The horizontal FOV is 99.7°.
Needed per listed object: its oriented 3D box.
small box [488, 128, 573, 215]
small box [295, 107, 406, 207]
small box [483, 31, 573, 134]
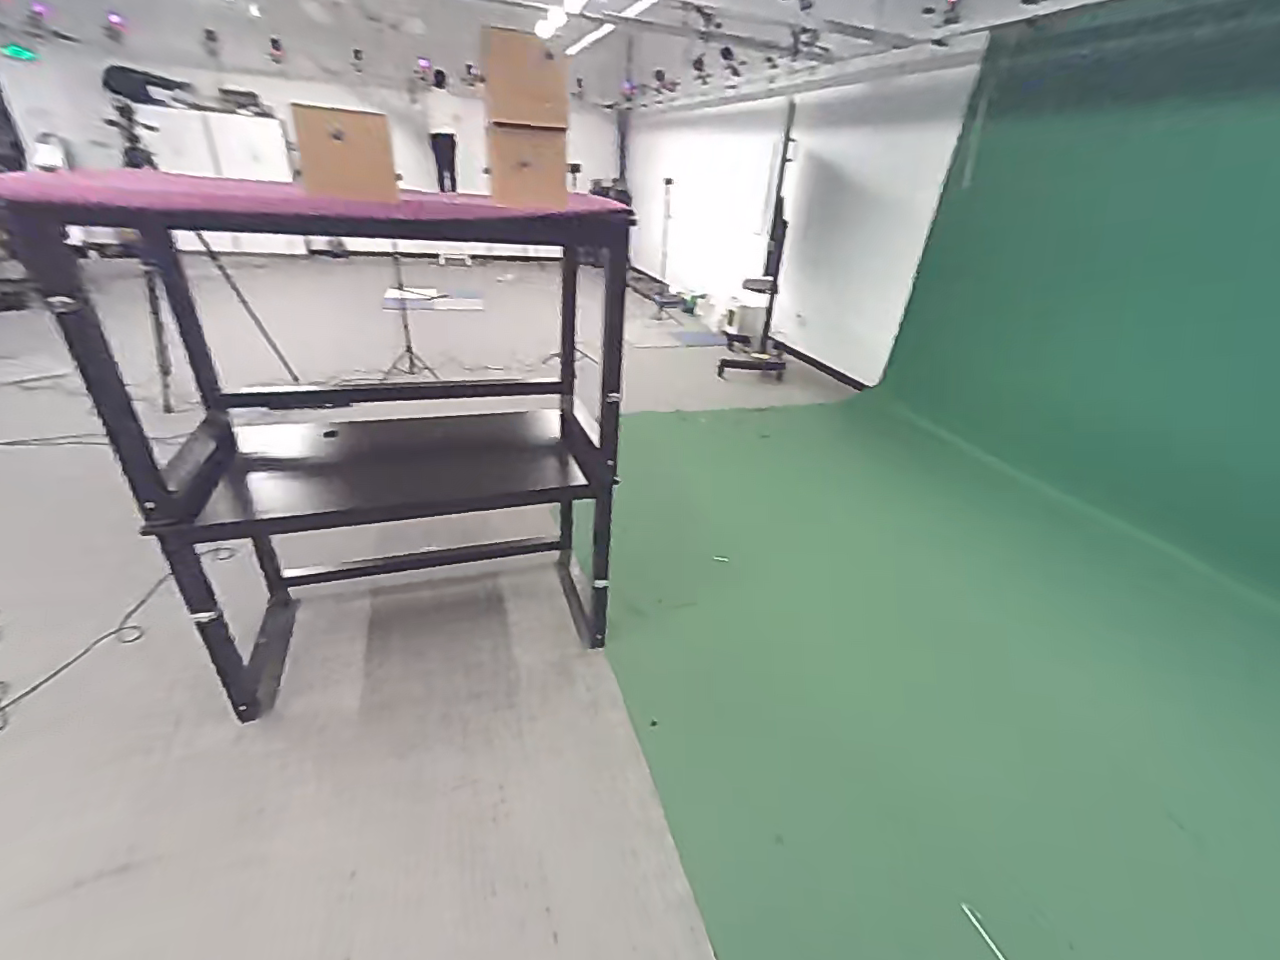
[{"bbox_3d":[-0.266,-0.740,1.310,0.179,0.176,0.168,-7,29,-17],"label":"small box"},{"bbox_3d":[-0.620,-0.698,1.180,0.179,0.176,0.168,-5,31,-18],"label":"small box"},{"bbox_3d":[-0.254,-0.879,1.224,0.179,0.176,0.168,-7,29,-18],"label":"small box"}]
